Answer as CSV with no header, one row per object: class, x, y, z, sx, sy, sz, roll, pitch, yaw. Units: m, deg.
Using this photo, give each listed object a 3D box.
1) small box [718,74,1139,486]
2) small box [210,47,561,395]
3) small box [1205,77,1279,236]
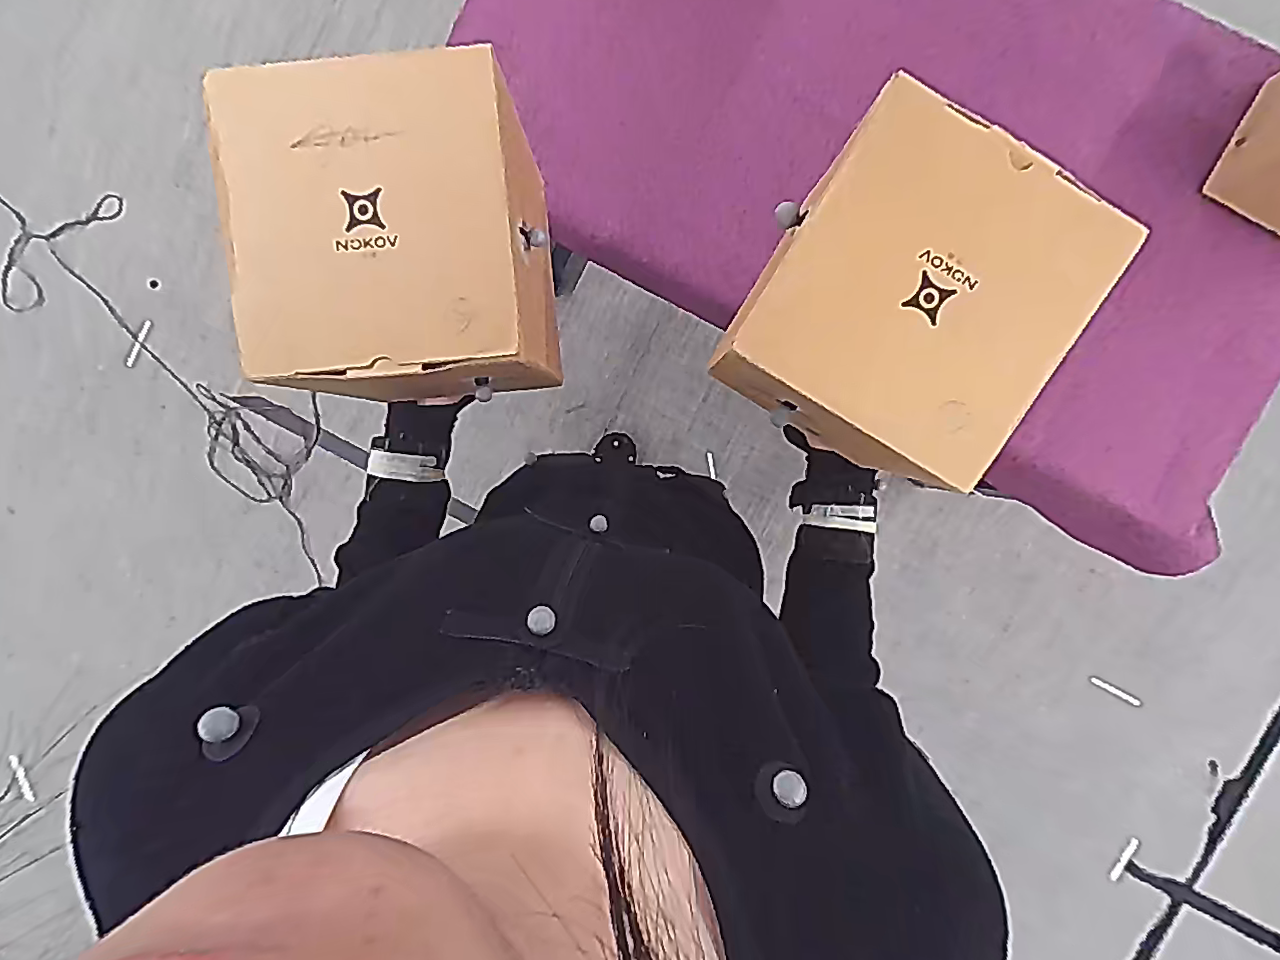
small box,0.168,-0.117,0.386,0.168,0.176,0.179,31,95,-2
small box,-0.155,-0.157,0.390,0.168,0.176,0.179,-5,93,0
small box,0.858,-0.415,0.642,0.179,0.176,0.168,28,94,-2
